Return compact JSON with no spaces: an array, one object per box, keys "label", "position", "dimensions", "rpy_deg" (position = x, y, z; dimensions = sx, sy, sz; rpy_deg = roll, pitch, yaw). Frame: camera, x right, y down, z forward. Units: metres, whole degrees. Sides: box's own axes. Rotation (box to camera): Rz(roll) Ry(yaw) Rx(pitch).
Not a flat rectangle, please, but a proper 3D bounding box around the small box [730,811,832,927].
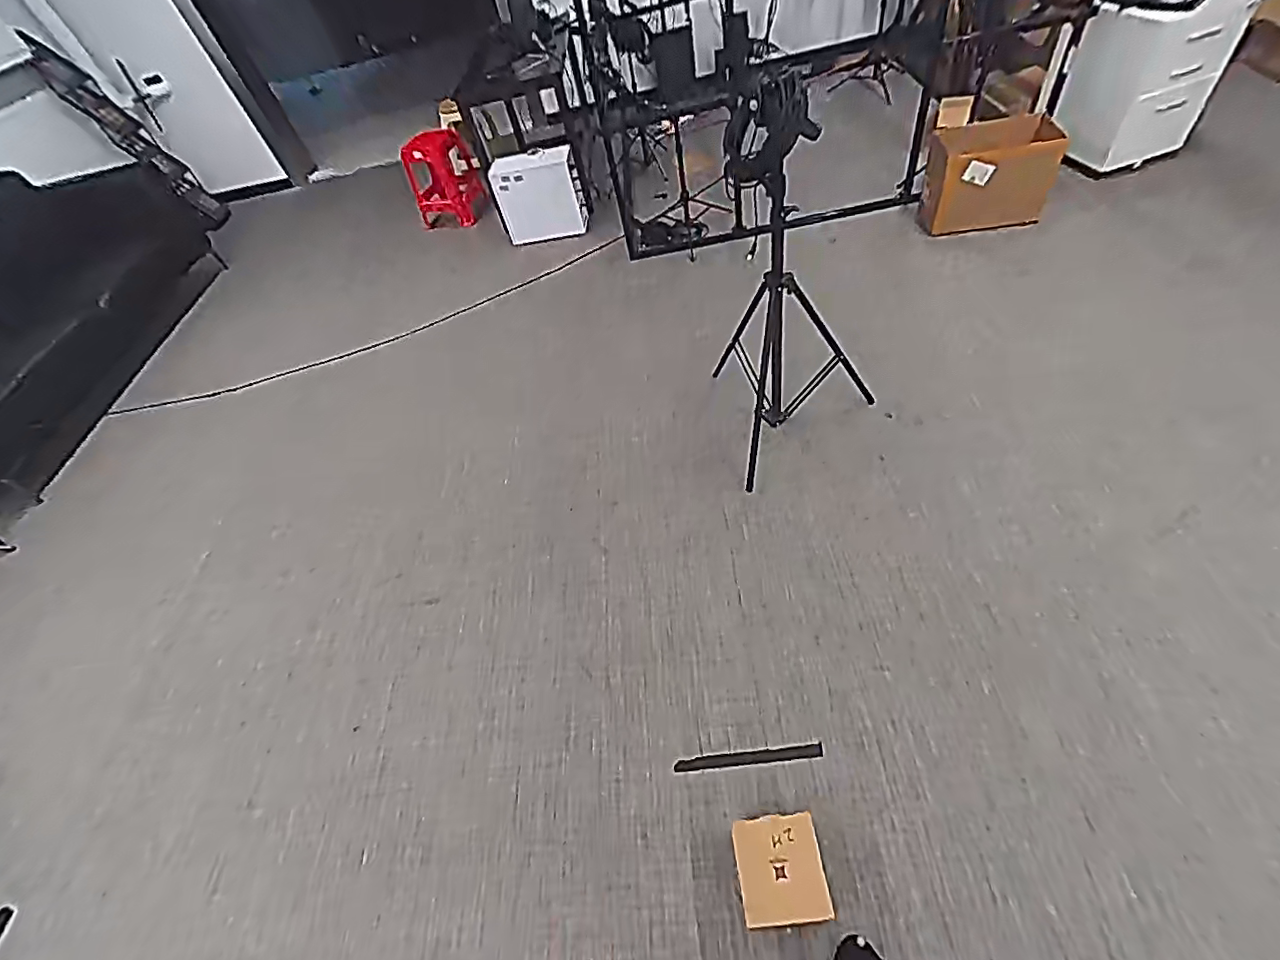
[{"label":"small box","position":[0.287,0.802,1.115],"dimensions":[0.168,0.176,0.179],"rpy_deg":[-10,50,6]}]
